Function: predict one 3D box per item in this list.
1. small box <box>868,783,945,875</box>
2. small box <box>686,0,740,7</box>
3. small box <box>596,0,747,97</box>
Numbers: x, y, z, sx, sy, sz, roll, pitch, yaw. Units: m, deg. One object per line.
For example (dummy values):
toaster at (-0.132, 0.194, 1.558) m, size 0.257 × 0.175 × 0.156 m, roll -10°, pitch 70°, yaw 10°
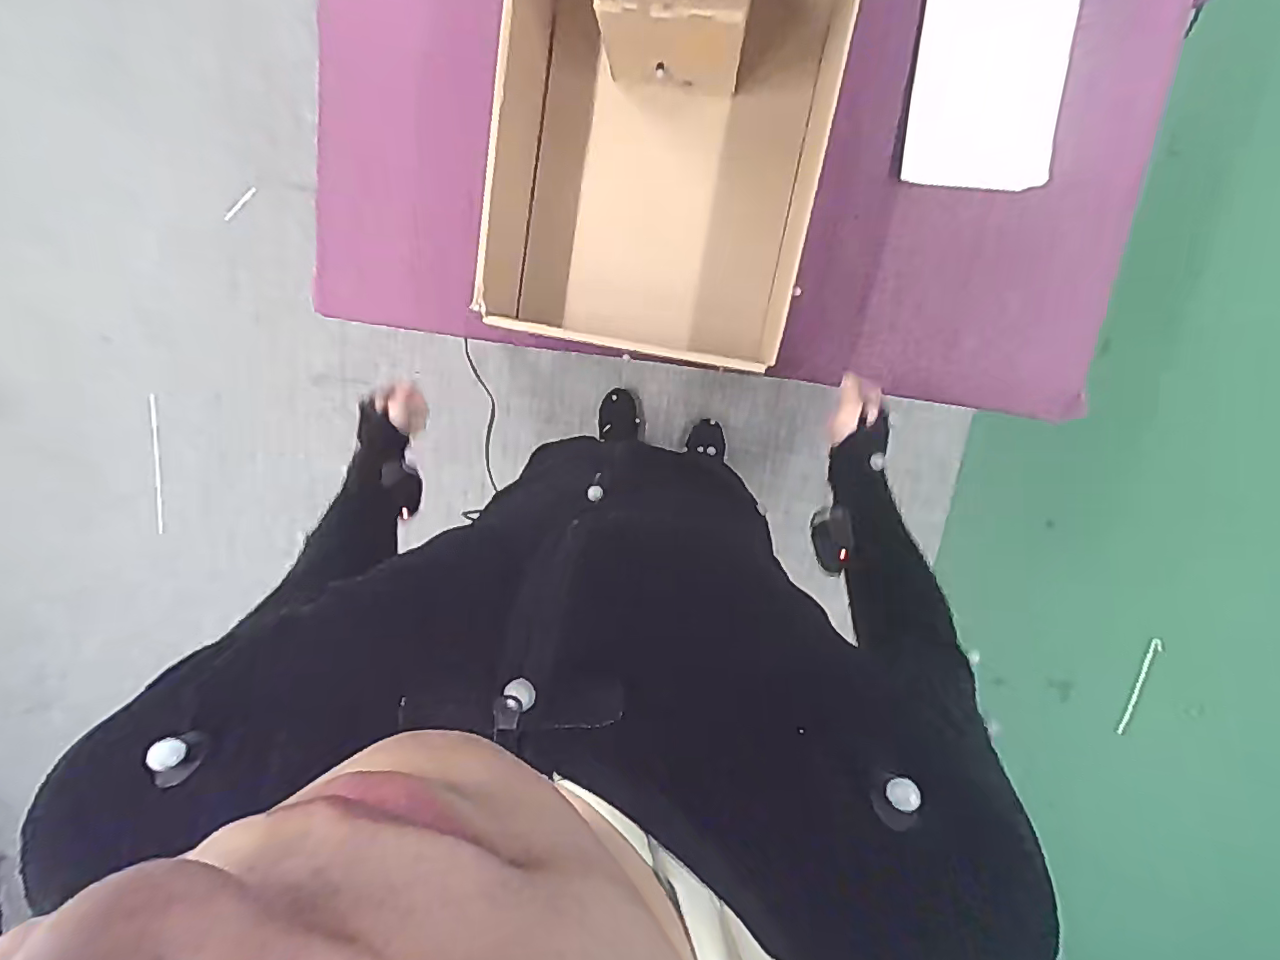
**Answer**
small box at (0.815, 1.067, 1.665) m, size 0.168 × 0.176 × 0.179 m, roll -1°, pitch 100°, yaw 6°
small box at (0.034, -0.579, 0.488) m, size 0.168 × 0.176 × 0.179 m, roll 7°, pitch 101°, yaw 3°
small box at (0.048, -0.604, 0.650) m, size 0.168 × 0.176 × 0.179 m, roll 8°, pitch 103°, yaw 4°
